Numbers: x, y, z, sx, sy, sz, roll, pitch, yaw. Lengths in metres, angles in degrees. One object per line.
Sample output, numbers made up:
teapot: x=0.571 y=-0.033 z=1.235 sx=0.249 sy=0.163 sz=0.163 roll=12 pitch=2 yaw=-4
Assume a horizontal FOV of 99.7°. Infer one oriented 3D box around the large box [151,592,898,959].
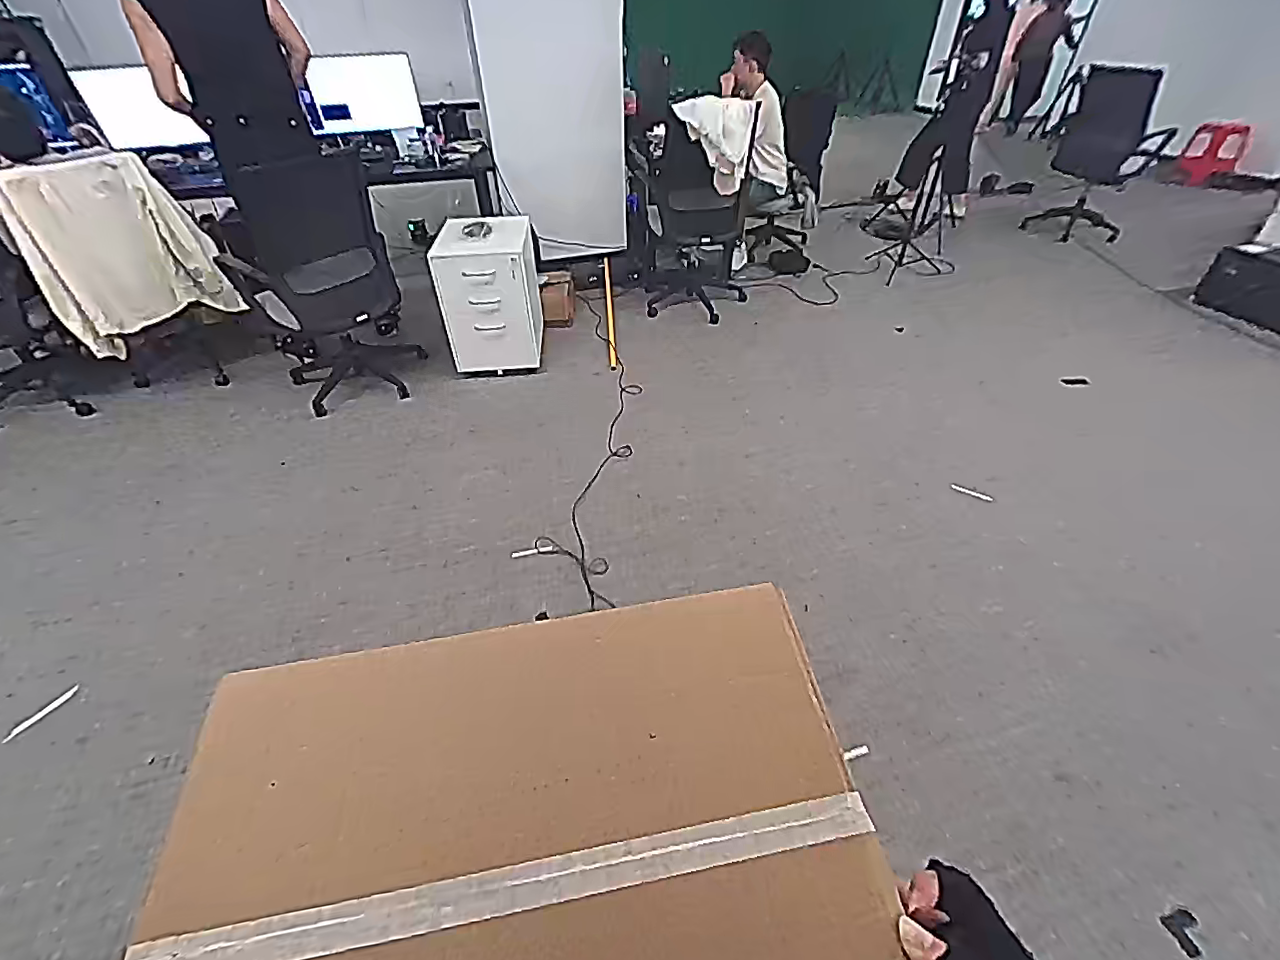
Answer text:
large box: x=-0.065 y=0.327 z=0.426 sx=0.408 sy=0.320 sz=0.320 roll=-8 pitch=49 yaw=-5
